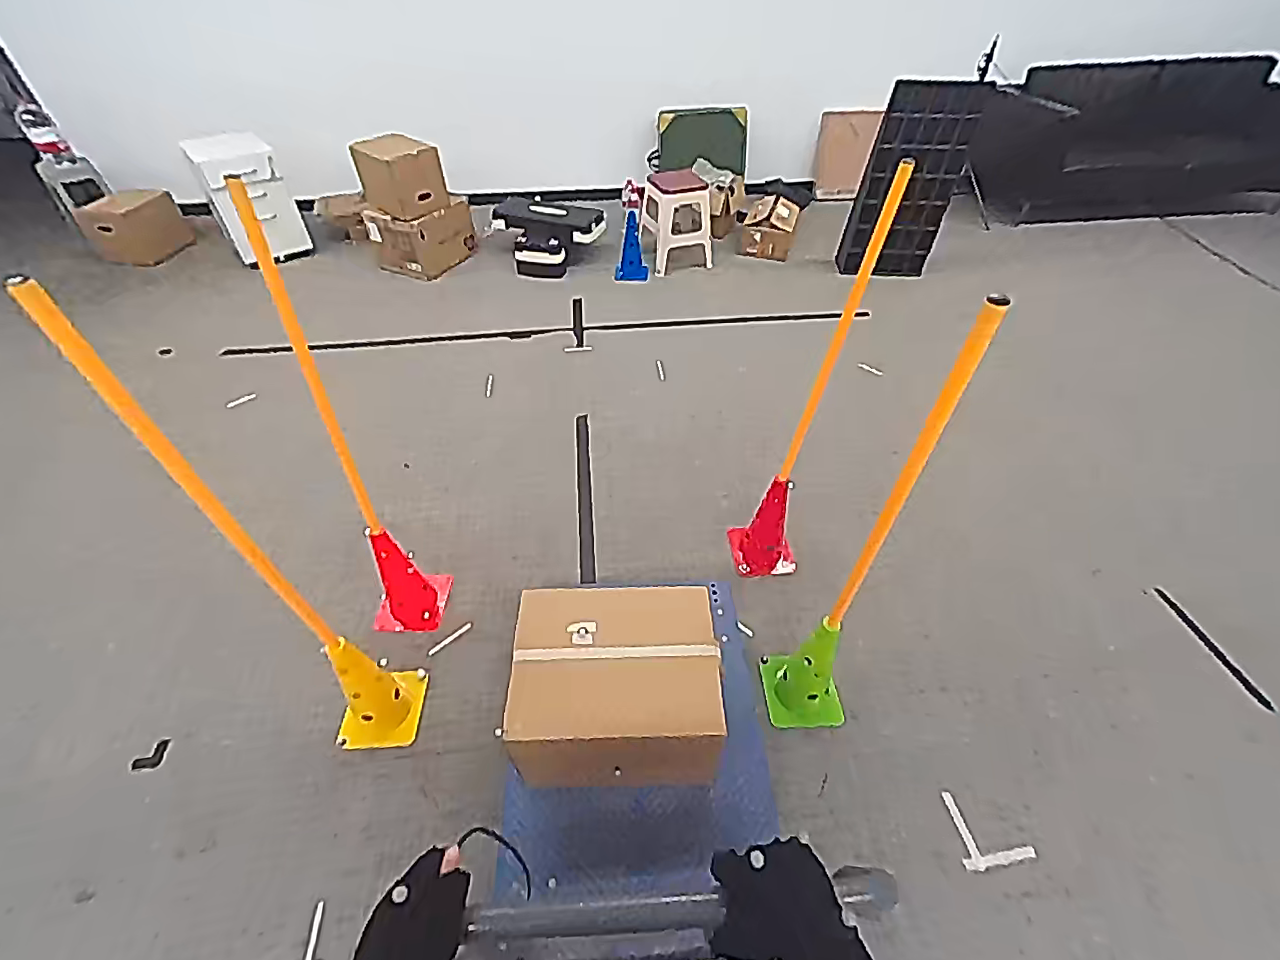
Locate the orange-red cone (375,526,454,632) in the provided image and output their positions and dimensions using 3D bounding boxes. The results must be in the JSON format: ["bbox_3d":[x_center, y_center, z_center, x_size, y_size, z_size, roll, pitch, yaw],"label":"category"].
[{"bbox_3d":[-0.698,0.260,1.574,0.198,0.360,0.199,2,44,0],"label":"orange-red cone"}]

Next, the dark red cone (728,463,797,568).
[{"bbox_3d":[0.417,0.101,1.709,0.201,0.394,0.202,-3,46,-6],"label":"dark red cone"}]

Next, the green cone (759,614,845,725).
[{"bbox_3d":[0.448,0.458,1.381,0.202,0.368,0.200,-1,45,-3],"label":"green cone"}]

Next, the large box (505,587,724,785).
[{"bbox_3d":[-0.047,0.453,1.182,0.408,0.320,0.320,-2,46,0],"label":"large box"}]
